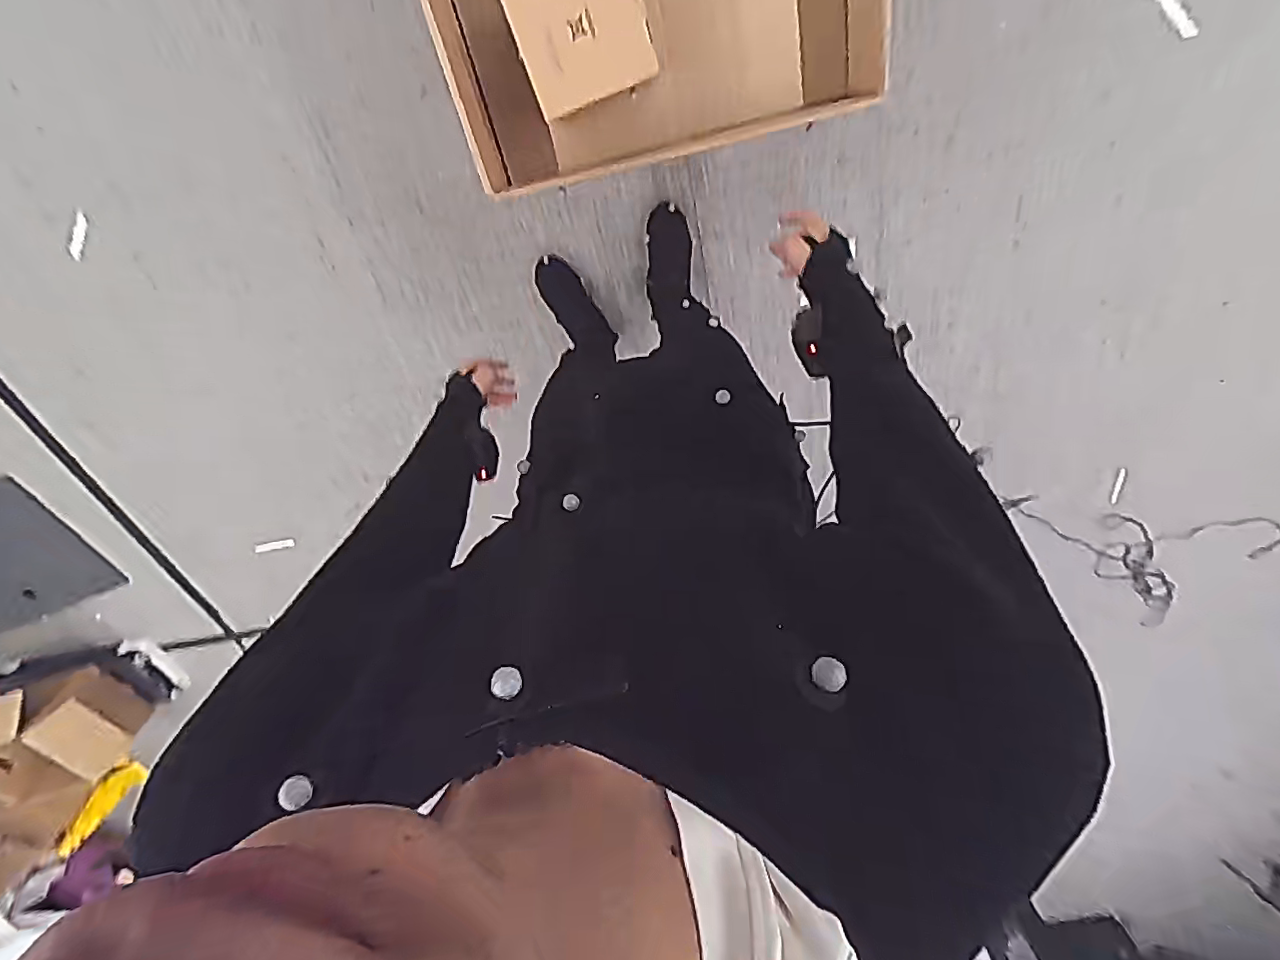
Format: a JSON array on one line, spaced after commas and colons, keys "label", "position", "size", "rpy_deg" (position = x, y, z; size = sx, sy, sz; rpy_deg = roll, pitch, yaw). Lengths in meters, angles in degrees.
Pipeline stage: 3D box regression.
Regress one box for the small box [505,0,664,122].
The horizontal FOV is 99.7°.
[{"label": "small box", "position": [-0.077, -0.643, 0.781], "size": [0.179, 0.176, 0.168], "rpy_deg": [-17, 121, 10]}]
